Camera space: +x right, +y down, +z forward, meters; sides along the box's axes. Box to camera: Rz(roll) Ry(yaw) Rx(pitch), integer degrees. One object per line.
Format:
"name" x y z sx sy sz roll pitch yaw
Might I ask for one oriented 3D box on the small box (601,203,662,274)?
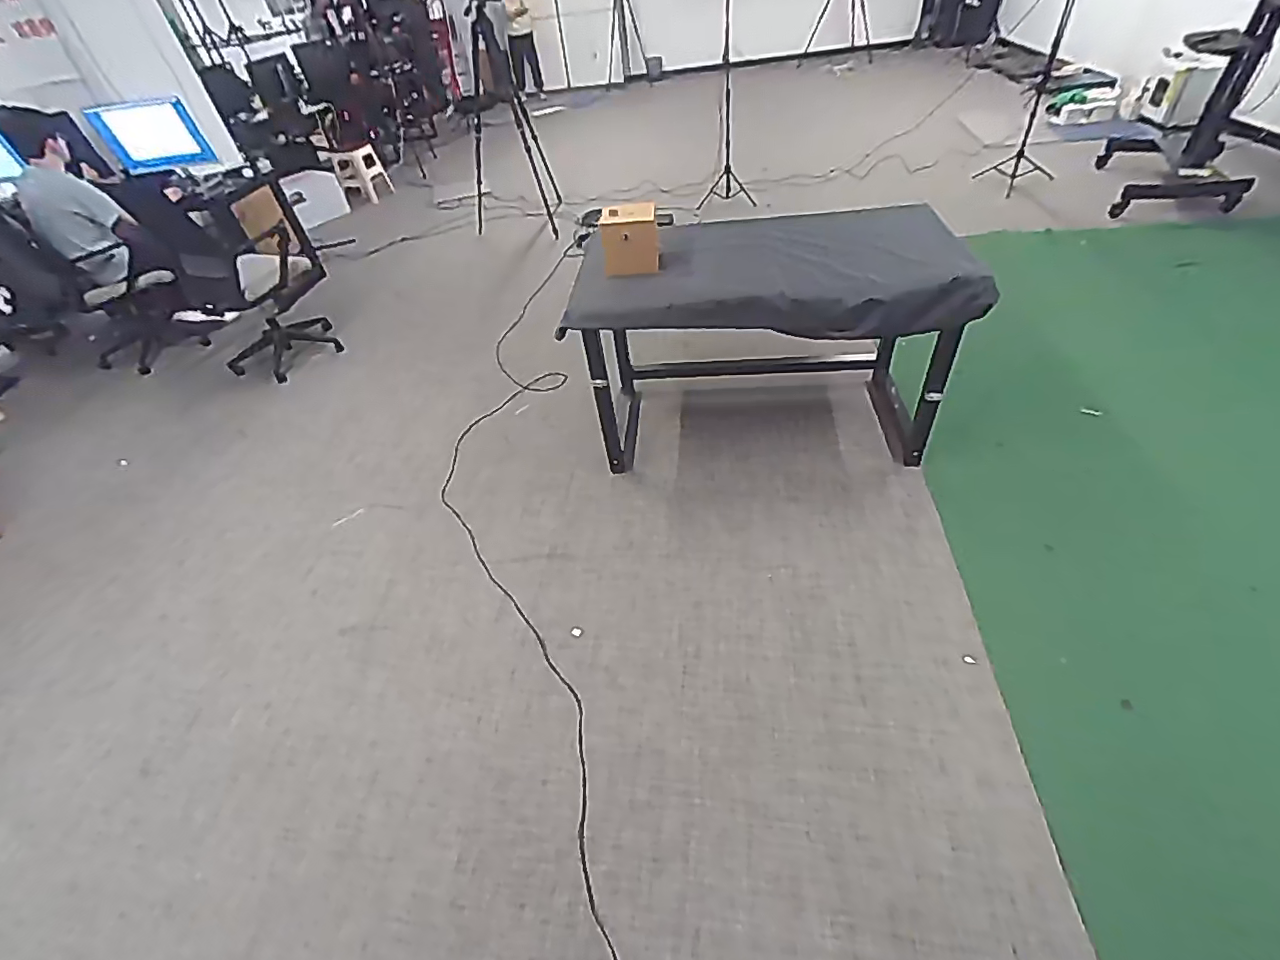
"small box" -0.022 -0.794 1.786 0.179 0.176 0.168 -1 44 6
